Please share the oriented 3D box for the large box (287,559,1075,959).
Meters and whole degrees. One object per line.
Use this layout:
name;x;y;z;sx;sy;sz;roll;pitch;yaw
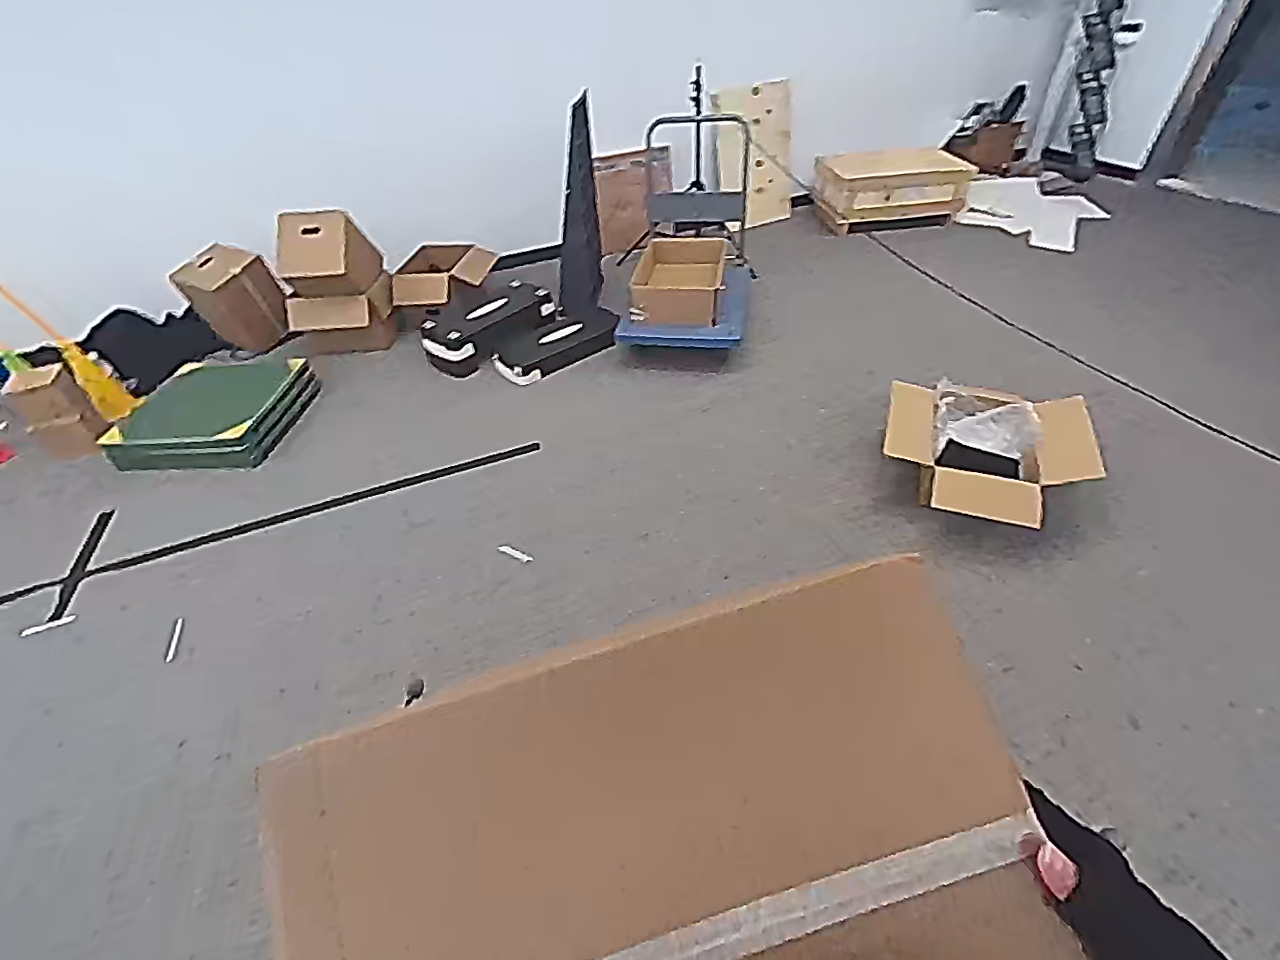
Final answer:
large box;0.025;0.281;0.440;0.408;0.320;0.320;-17;79;-3
